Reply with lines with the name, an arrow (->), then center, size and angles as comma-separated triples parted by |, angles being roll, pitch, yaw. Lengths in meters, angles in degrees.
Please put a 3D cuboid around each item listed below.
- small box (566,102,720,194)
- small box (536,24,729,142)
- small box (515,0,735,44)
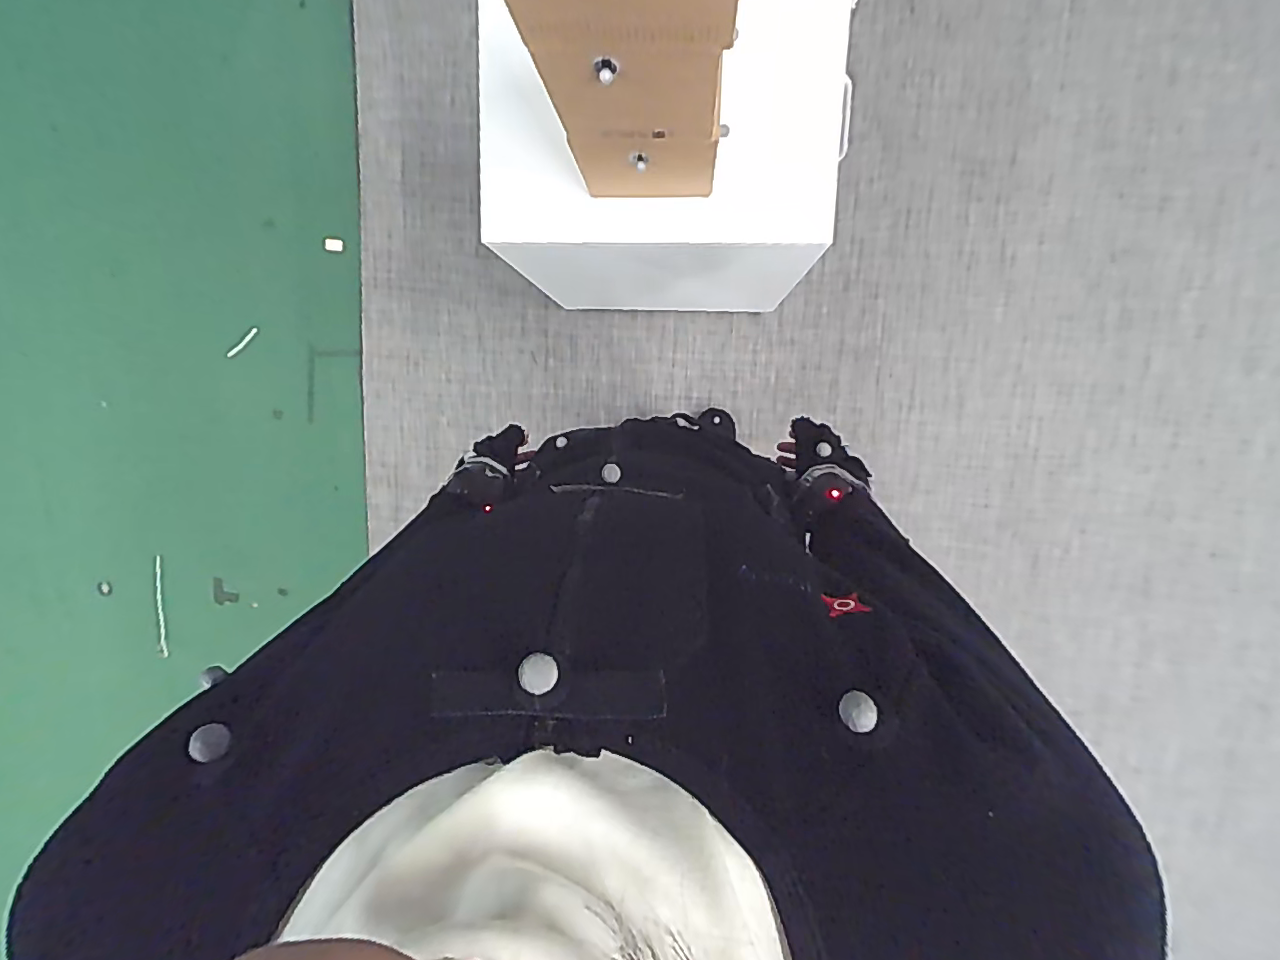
small box -> 0.011, -0.479, 0.684 | 0.179, 0.176, 0.168 | 2, 98, 4
small box -> -0.001, -0.460, 0.524 | 0.168, 0.176, 0.179 | 1, 99, 4
small box -> -0.013, -0.432, 0.360 | 0.179, 0.176, 0.168 | 5, 99, 4
